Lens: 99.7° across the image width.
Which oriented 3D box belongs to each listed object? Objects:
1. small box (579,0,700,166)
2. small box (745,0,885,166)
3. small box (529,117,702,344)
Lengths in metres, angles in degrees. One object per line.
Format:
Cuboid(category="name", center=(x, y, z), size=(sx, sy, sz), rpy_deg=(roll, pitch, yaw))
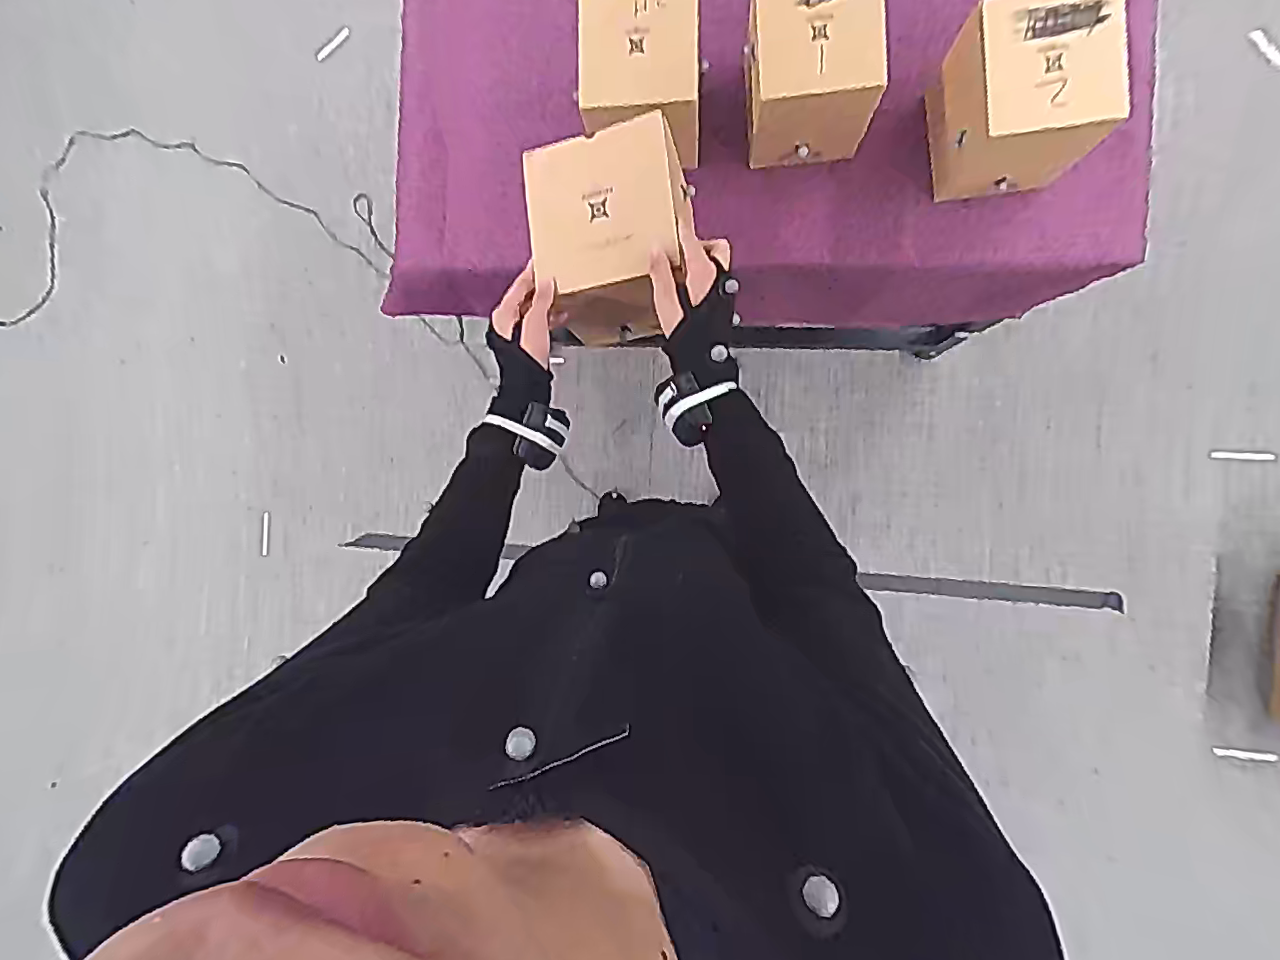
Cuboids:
Cuboid(category="small box", center=(0.007, -0.605, 0.826), size=(0.168, 0.176, 0.179), rpy_deg=(1, 90, 6))
Cuboid(category="small box", center=(0.247, -0.603, 0.799), size=(0.168, 0.176, 0.179), rpy_deg=(-3, 90, 6))
Cuboid(category="small box", center=(-0.022, -0.290, 0.666), size=(0.168, 0.176, 0.179), rpy_deg=(-7, 82, 15))
